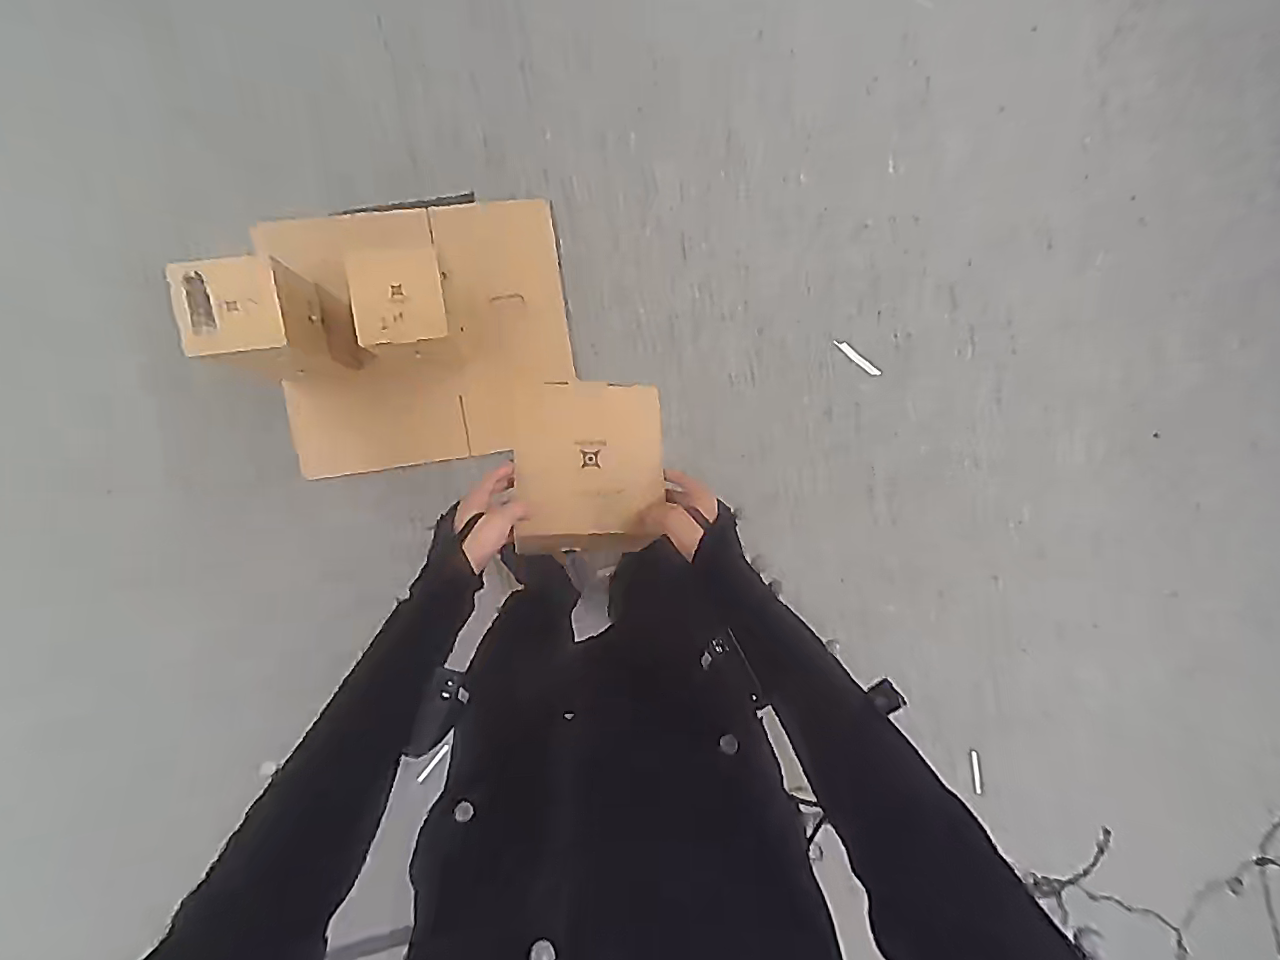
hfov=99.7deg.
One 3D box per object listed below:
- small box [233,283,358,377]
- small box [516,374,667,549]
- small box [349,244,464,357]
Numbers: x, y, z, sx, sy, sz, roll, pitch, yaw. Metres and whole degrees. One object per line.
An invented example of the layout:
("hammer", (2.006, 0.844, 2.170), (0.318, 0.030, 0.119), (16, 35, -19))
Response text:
("small box", (-0.755, -0.330, 1.210), (0.179, 0.176, 0.168), (-9, 95, -7))
("small box", (-0.069, -0.014, 0.676), (0.168, 0.176, 0.179), (0, 75, -11))
("small box", (-0.460, -0.354, 1.089), (0.168, 0.176, 0.179), (-7, 96, -8))
